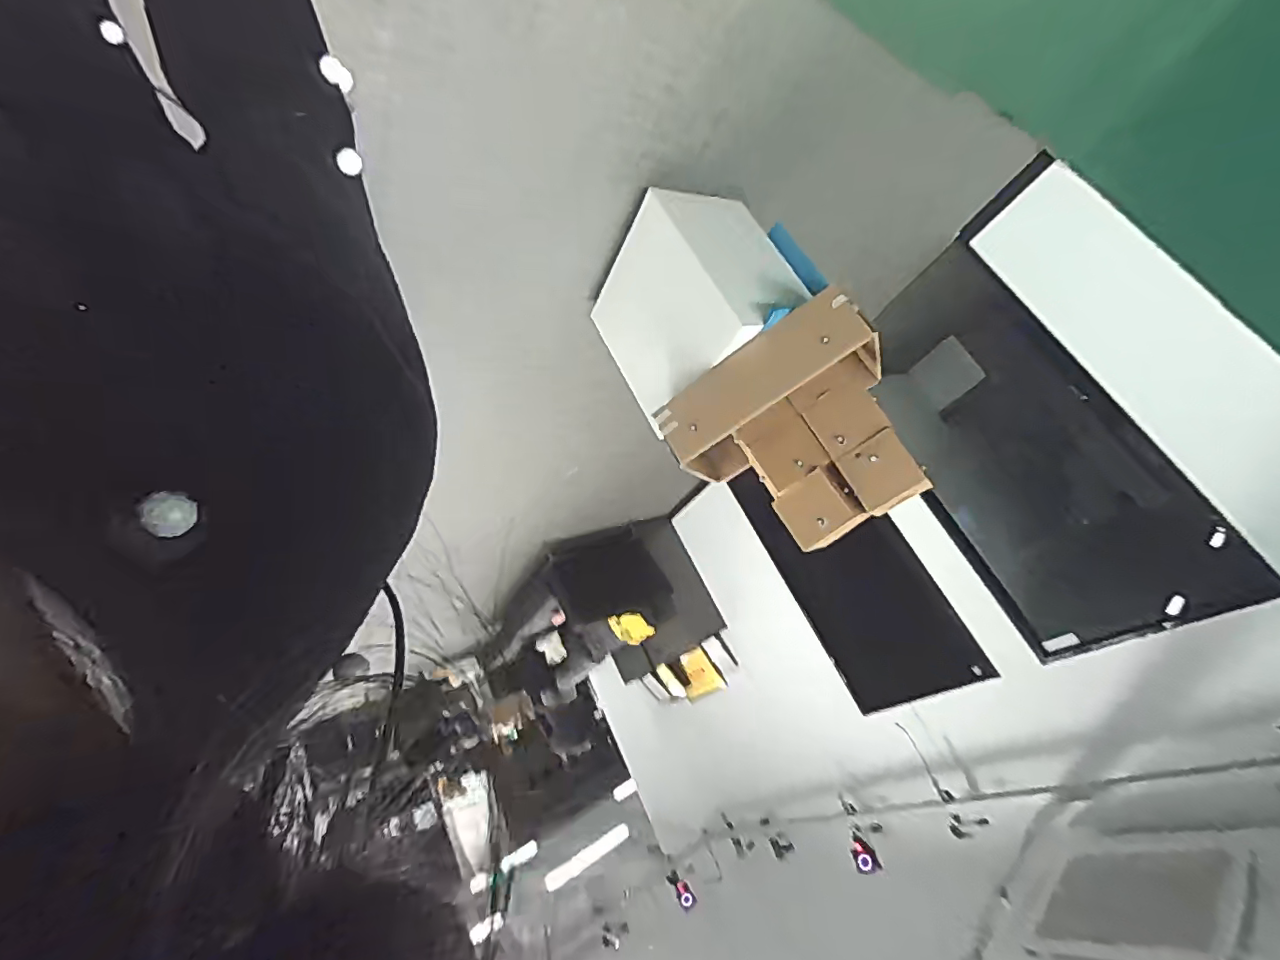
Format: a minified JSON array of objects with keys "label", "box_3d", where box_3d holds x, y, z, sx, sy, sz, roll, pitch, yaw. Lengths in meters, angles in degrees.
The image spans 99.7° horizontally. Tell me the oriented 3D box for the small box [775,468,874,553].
[{"label":"small box","box_3d":[0.515,0.081,1.520,0.179,0.176,0.168,-43,155,29]}]
